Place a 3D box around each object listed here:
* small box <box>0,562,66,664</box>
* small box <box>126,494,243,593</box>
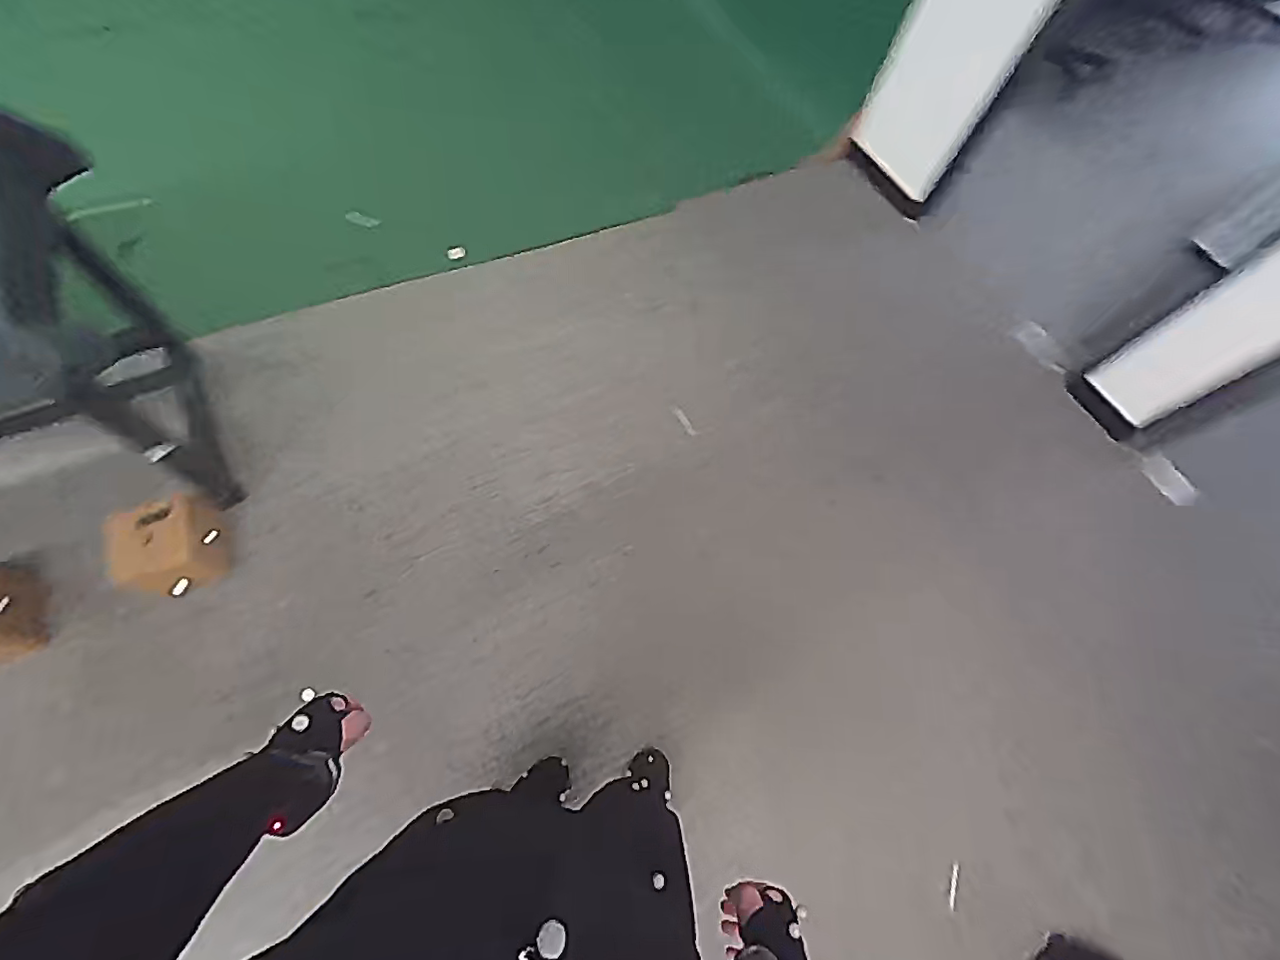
[{"bbox_3d":[-1.496,0.320,1.254,0.168,0.176,0.179,-21,67,-17],"label":"small box"},{"bbox_3d":[-1.142,0.165,1.365,0.168,0.176,0.179,-18,69,-14],"label":"small box"}]
